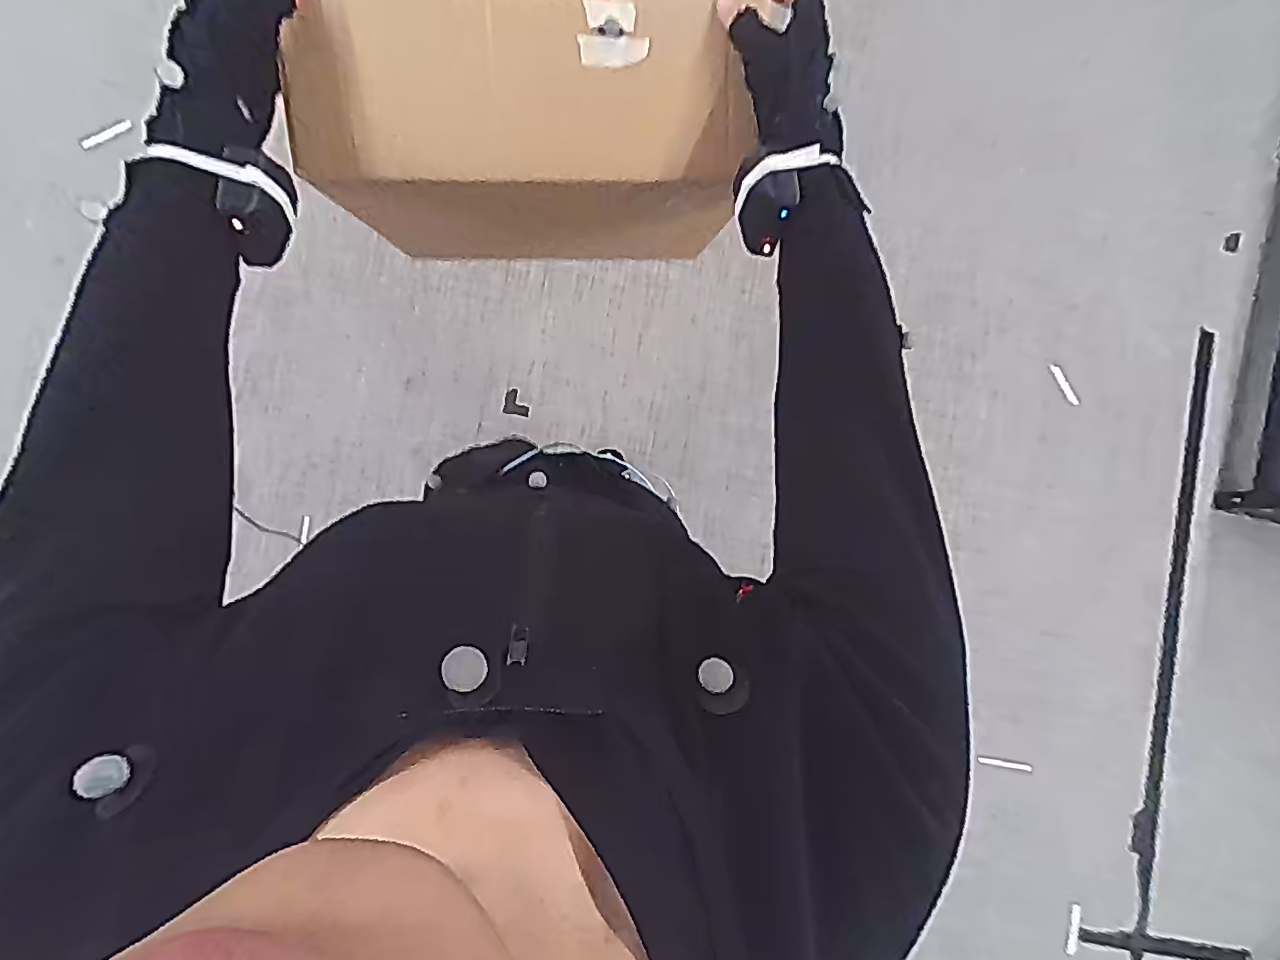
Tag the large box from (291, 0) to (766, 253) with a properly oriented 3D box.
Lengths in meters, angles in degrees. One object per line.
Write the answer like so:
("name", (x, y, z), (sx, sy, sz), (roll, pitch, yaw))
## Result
("large box", (-0.104, -0.452, 0.597), (0.408, 0.320, 0.320), (-3, 101, -6))
